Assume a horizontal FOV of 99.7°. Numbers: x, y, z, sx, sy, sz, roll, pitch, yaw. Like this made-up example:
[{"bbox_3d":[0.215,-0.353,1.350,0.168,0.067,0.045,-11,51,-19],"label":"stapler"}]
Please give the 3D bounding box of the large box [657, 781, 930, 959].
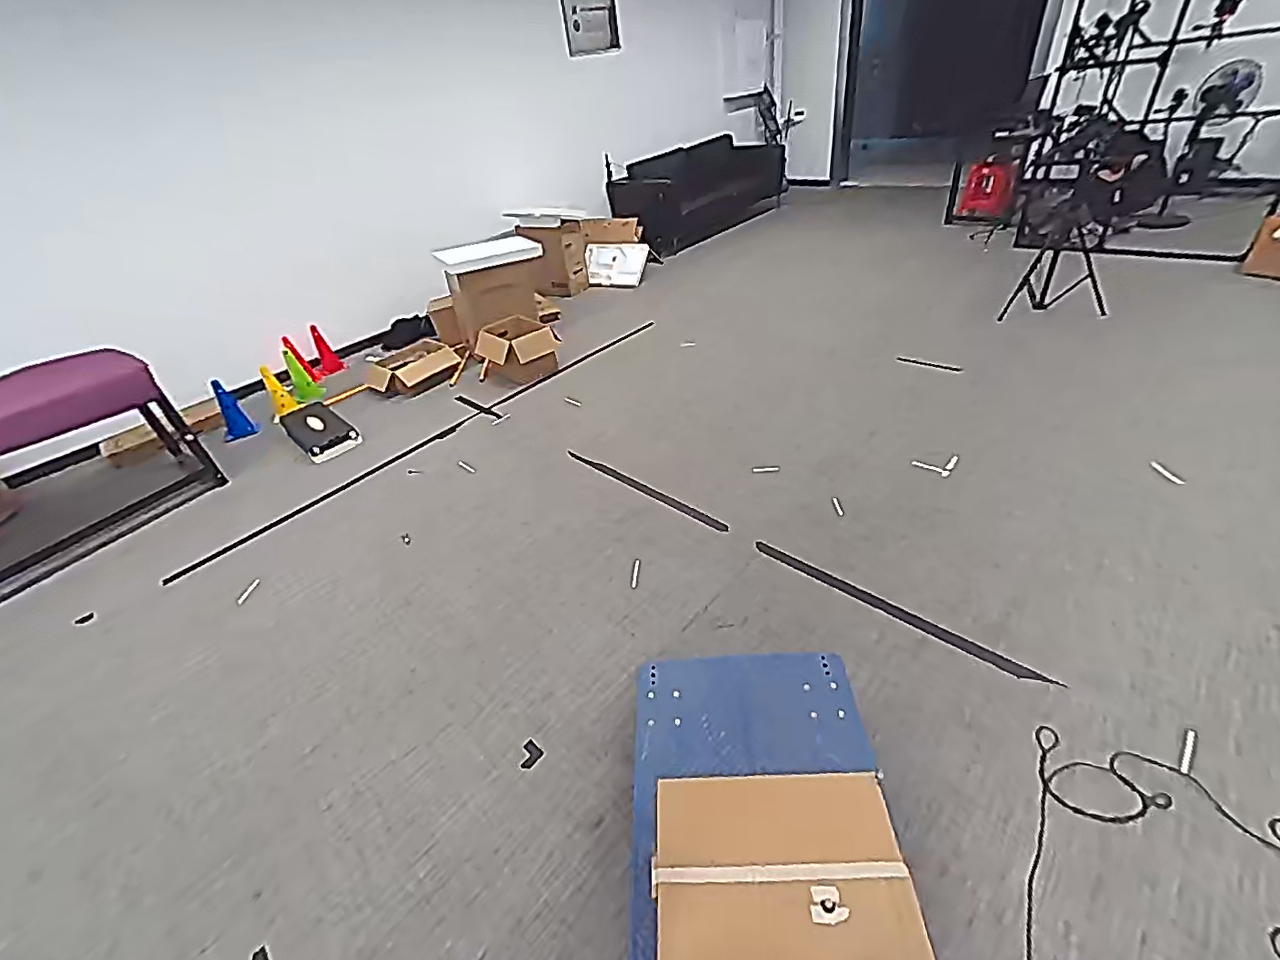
[{"bbox_3d":[0.241,0.776,0.968,0.408,0.320,0.320,-4,37,4],"label":"large box"}]
